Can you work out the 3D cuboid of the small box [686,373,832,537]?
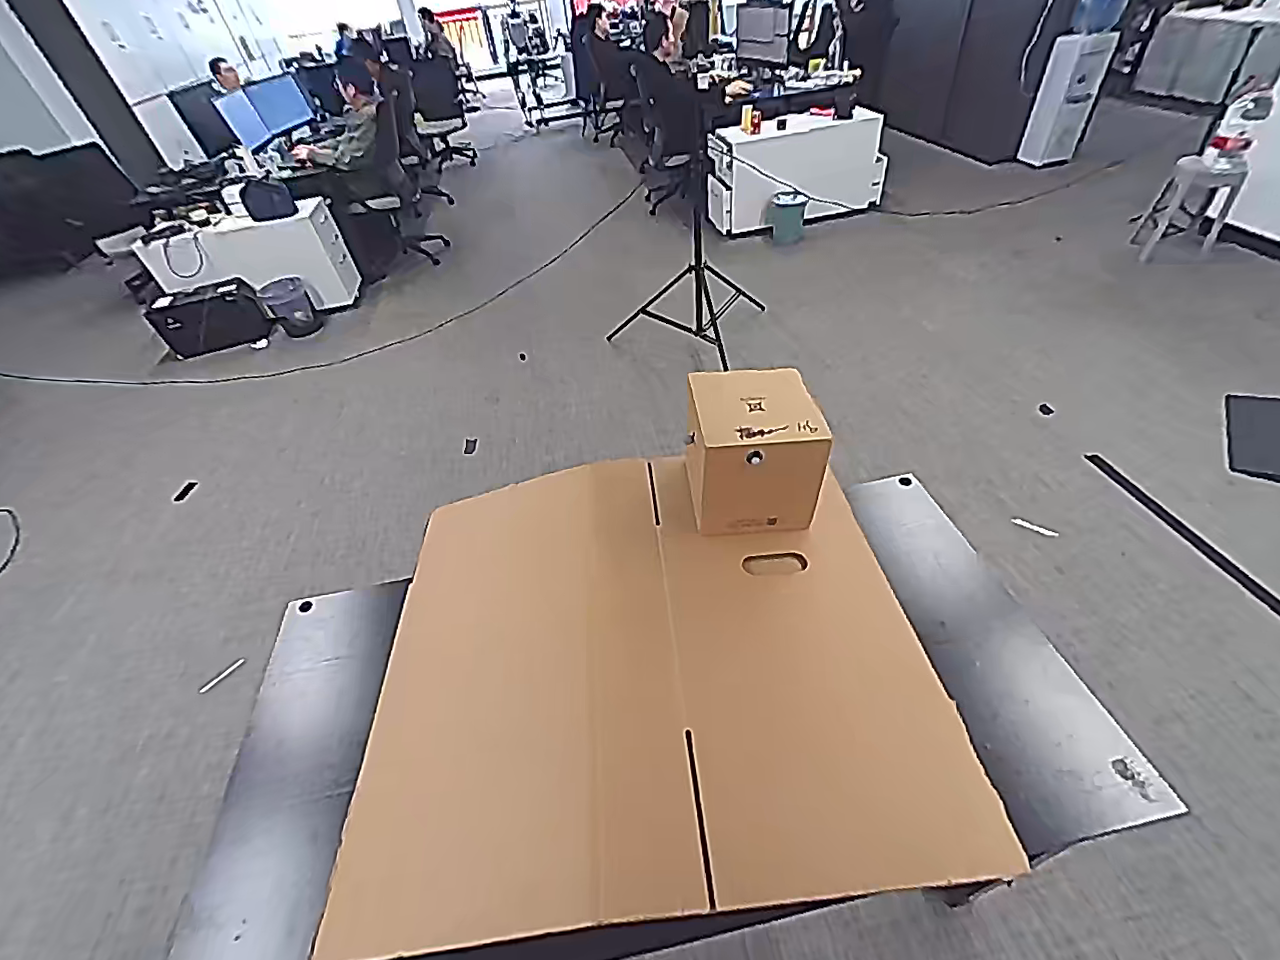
[{"bbox_3d":[0.159,-0.038,0.792,0.168,0.176,0.179,-4,41,-1],"label":"small box"}]
